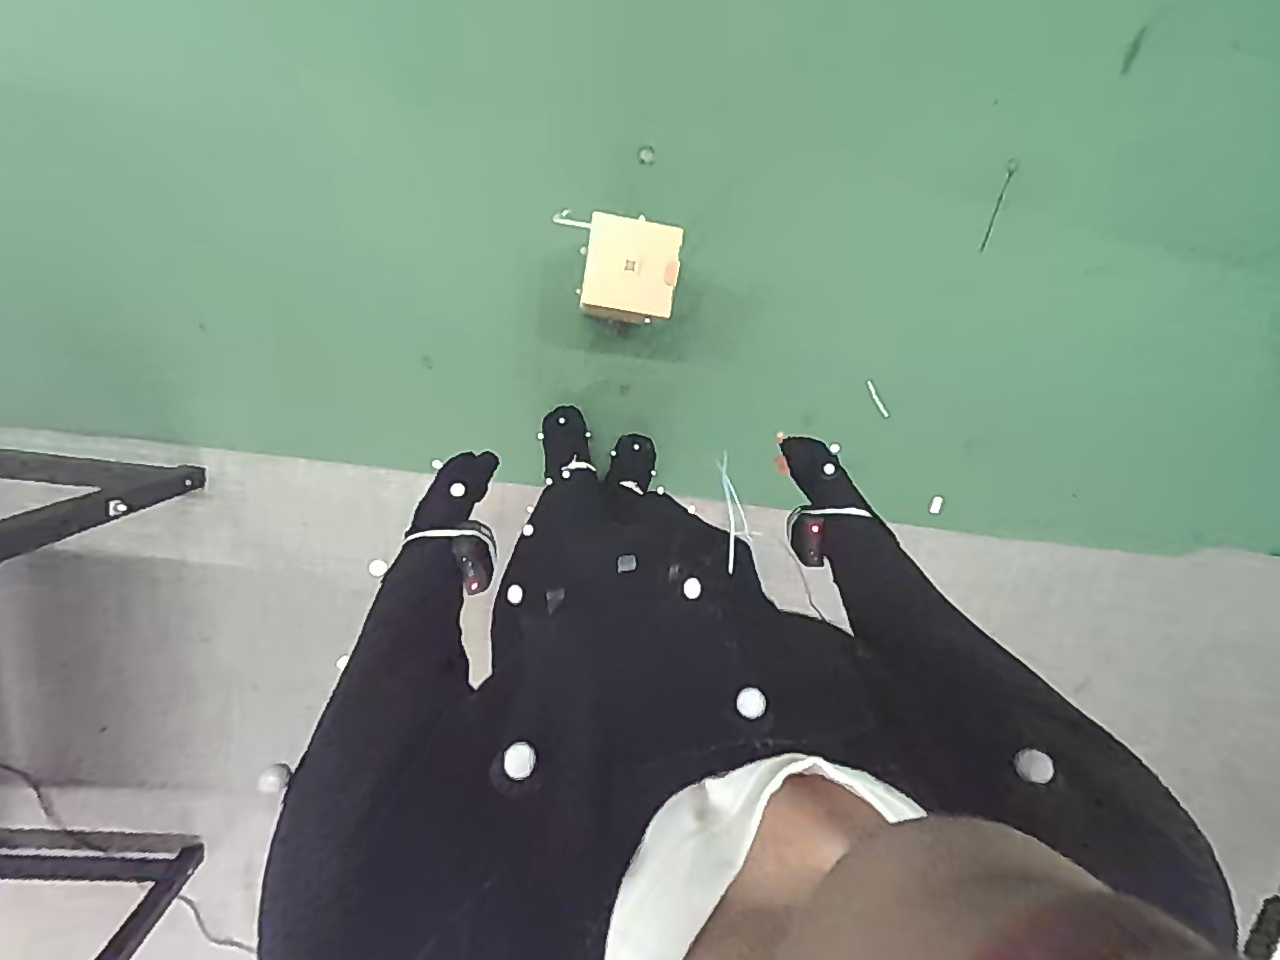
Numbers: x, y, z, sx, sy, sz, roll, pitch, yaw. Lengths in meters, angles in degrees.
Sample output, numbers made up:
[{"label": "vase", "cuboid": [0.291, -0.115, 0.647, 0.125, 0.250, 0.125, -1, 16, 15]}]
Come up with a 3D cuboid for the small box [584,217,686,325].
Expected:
[{"label": "small box", "cuboid": [-0.019, -0.415, 1.102, 0.179, 0.176, 0.168, 7, 102, -8]}]
